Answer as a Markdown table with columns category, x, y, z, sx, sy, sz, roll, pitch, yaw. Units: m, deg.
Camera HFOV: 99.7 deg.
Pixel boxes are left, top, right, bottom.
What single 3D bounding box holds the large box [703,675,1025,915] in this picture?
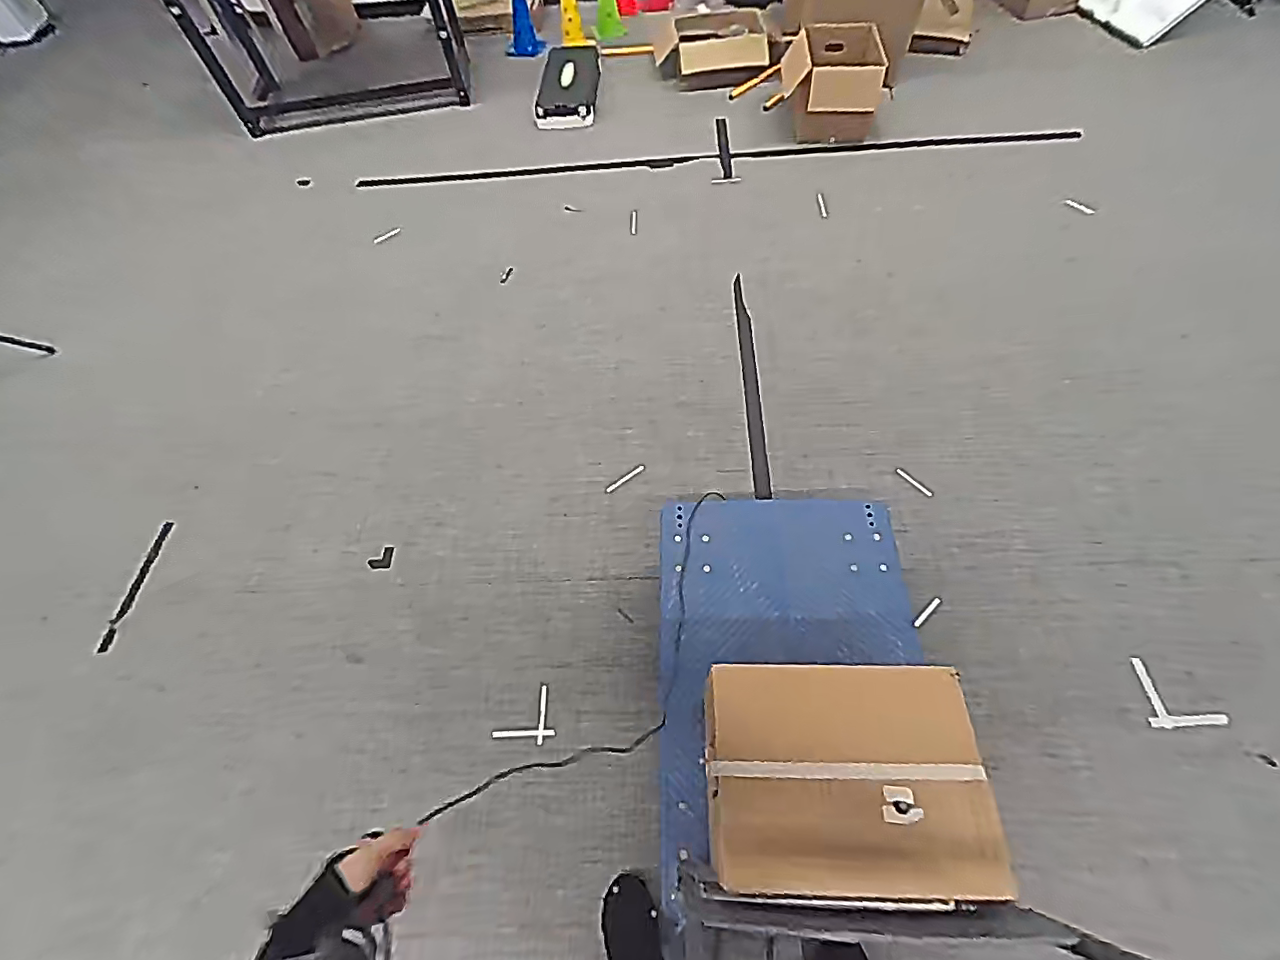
| category | x | y | z | sx | sy | sz | roll | pitch | yaw |
| --- | --- | --- | --- | --- | --- | --- | --- | --- | --- |
| large box | 0.325 | 0.530 | 0.932 | 0.408 | 0.320 | 0.320 | -1 | 59 | 3 |
